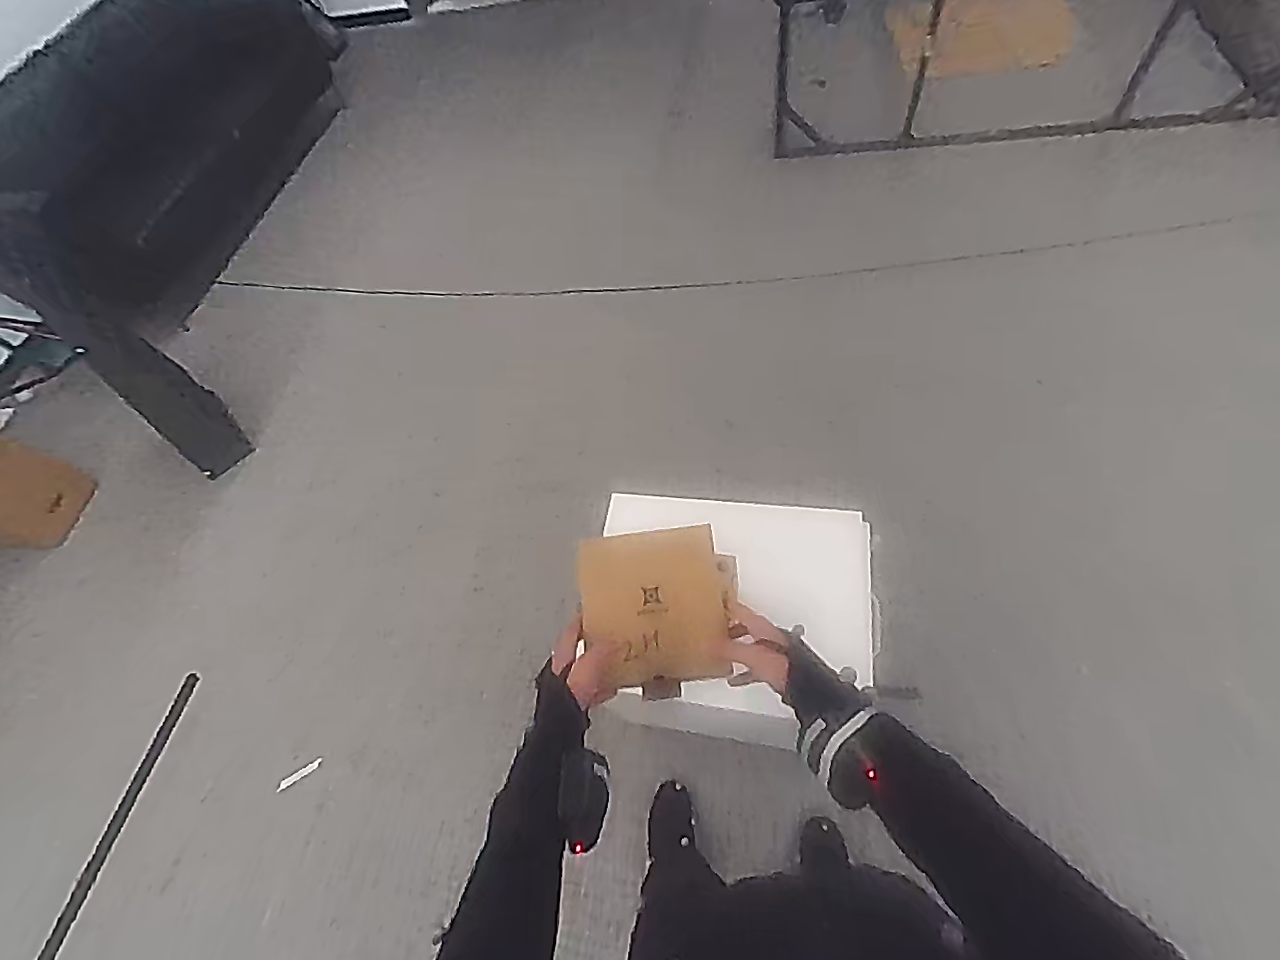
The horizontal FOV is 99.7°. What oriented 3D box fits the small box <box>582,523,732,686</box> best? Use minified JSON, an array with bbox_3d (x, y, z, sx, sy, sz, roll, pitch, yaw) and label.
[{"bbox_3d":[0.022,0.169,0.702,0.168,0.176,0.179,-7,69,4],"label":"small box"}]
